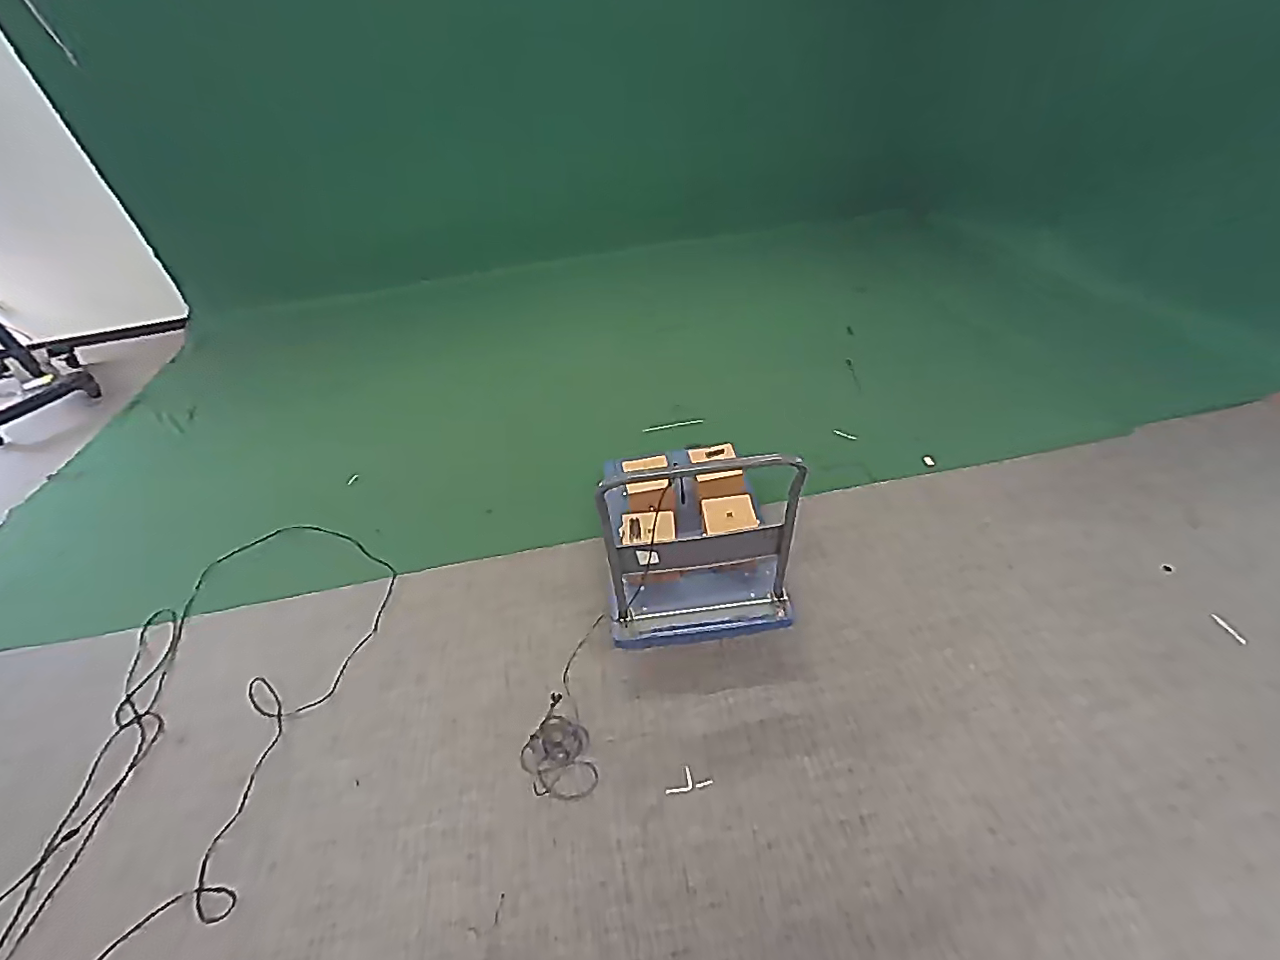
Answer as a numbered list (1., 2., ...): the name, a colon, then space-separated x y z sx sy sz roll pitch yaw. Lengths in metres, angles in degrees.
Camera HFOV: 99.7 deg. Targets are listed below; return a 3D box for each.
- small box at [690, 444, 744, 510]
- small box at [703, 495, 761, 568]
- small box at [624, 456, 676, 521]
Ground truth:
1. small box: 0.285 -0.007 2.031 0.168 0.176 0.179 -10 44 -1
2. small box: 0.307 0.176 1.834 0.168 0.176 0.179 -7 43 2
3. small box: 0.038 0.038 2.022 0.168 0.176 0.179 -10 43 -2
